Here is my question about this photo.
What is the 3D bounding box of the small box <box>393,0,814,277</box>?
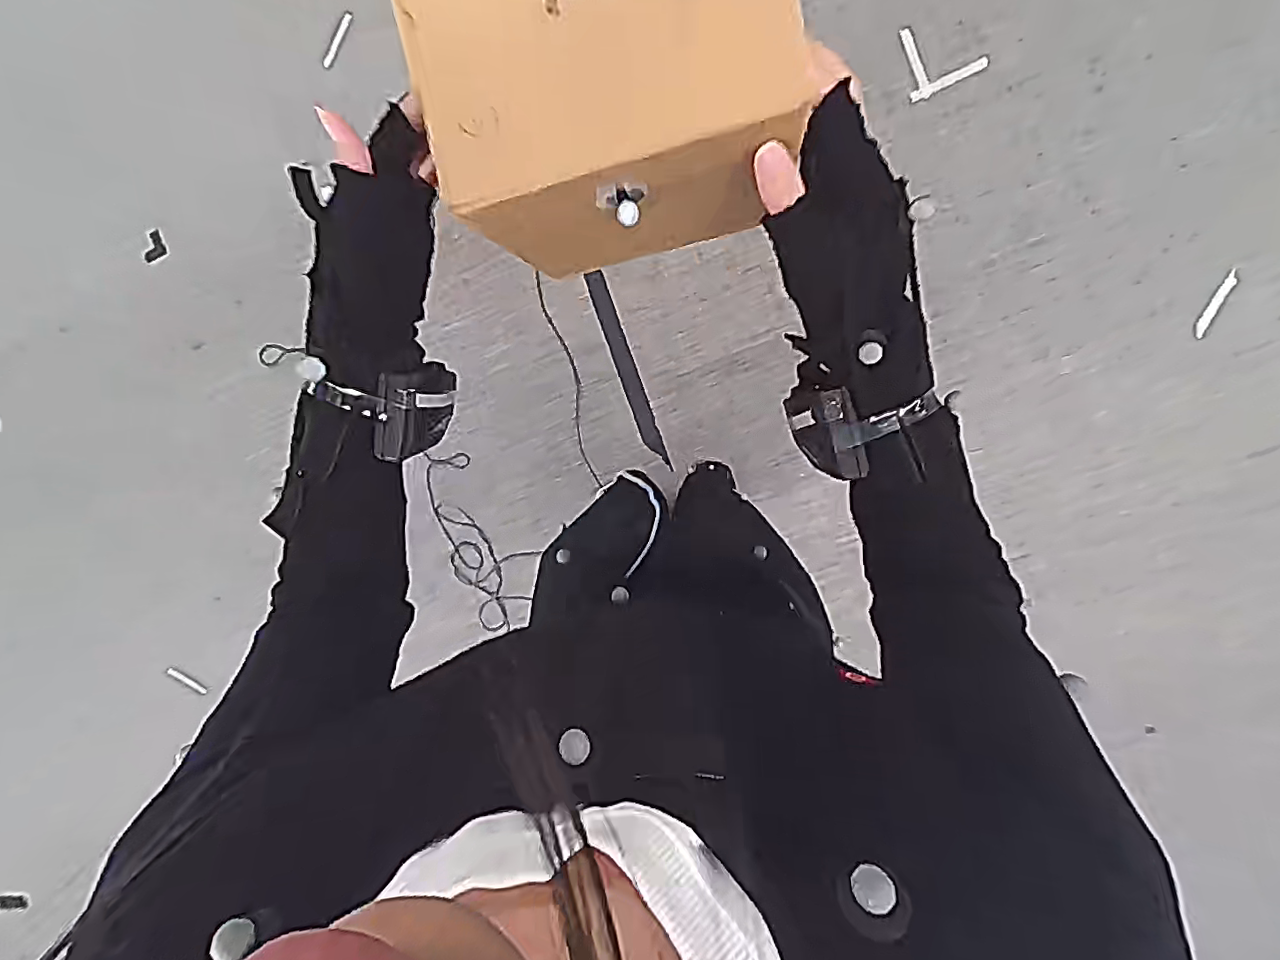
[{"bbox_3d":[-0.011,-0.228,0.304,0.179,0.176,0.168,-10,98,12],"label":"small box"}]
